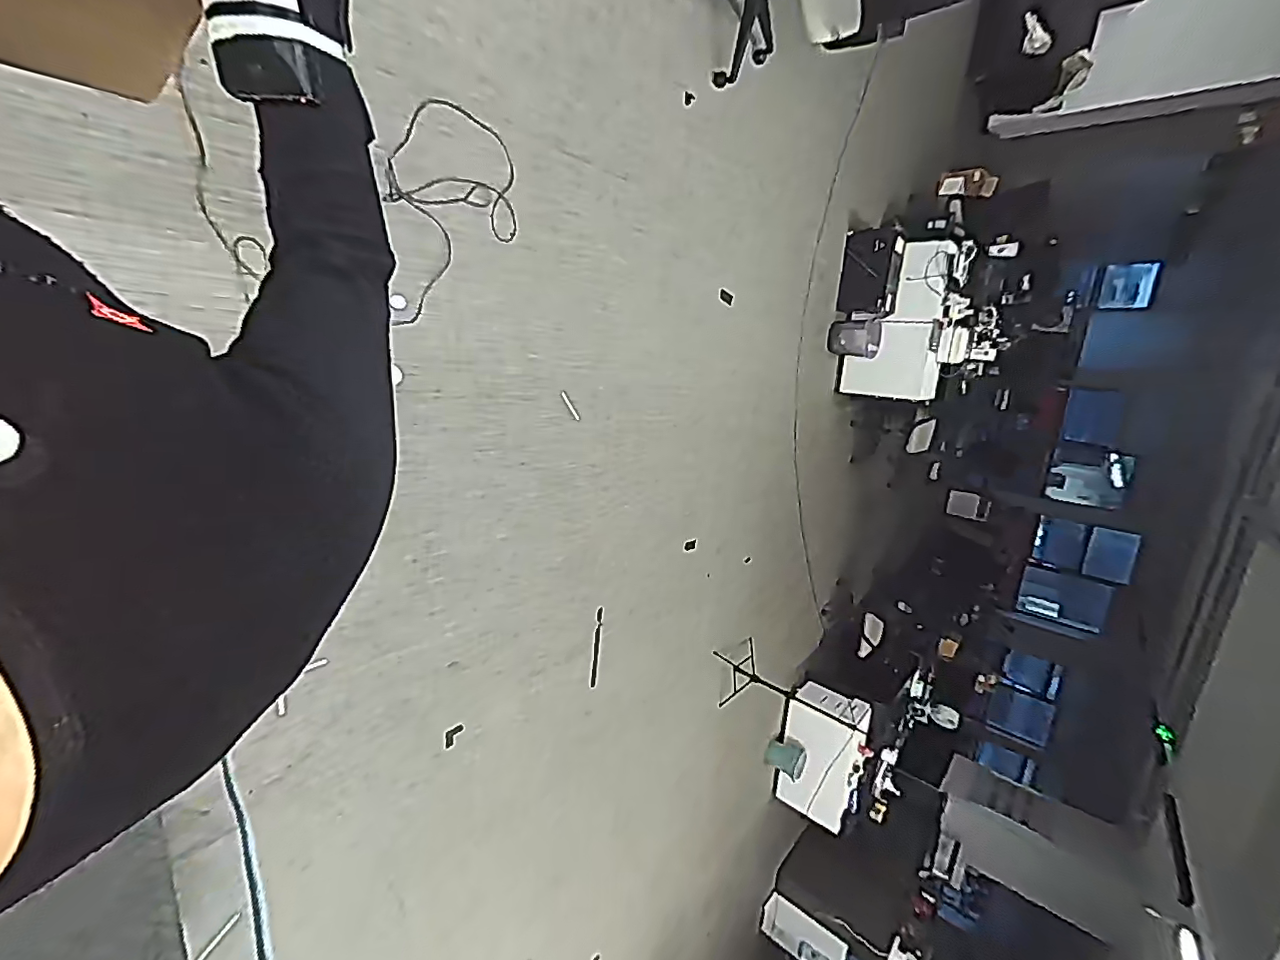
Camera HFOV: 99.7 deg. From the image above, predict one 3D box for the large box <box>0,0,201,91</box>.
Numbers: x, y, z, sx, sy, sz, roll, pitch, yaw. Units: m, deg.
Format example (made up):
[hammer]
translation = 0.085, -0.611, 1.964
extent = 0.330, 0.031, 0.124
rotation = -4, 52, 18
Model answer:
[large box]
translation = -0.480, -0.461, 0.240
extent = 0.408, 0.320, 0.320
rotation = -14, 108, -49
